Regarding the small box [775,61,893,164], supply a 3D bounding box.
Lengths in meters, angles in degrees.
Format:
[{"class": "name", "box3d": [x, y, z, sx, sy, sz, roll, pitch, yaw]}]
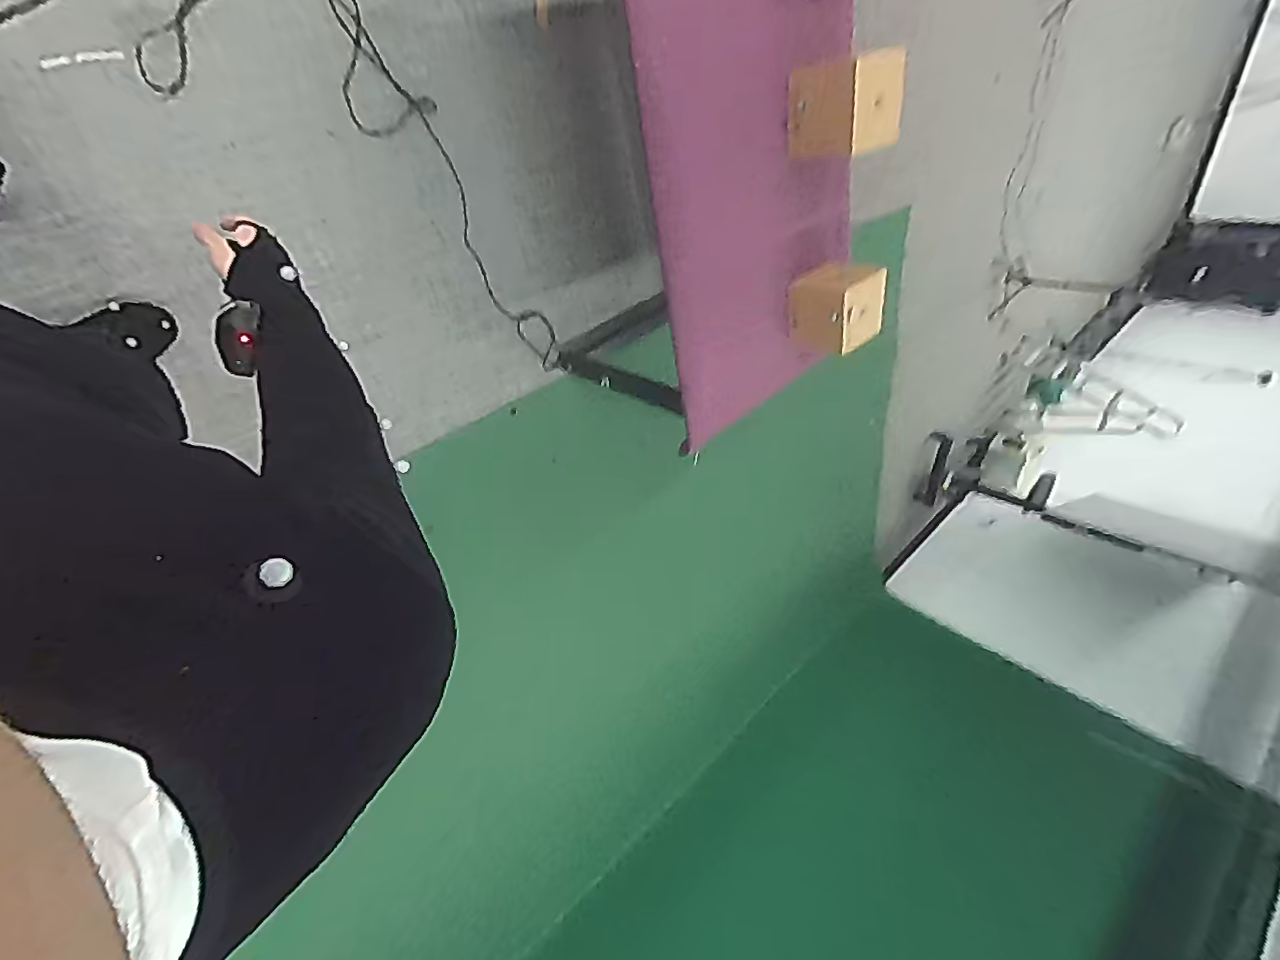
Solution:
[{"class": "small box", "box3d": [0.419, -0.800, 1.183, 0.179, 0.176, 0.168, -31, 130, -27]}]

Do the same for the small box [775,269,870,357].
[{"class": "small box", "box3d": [0.481, -0.451, 1.438, 0.179, 0.176, 0.168, -33, 131, -27]}]
